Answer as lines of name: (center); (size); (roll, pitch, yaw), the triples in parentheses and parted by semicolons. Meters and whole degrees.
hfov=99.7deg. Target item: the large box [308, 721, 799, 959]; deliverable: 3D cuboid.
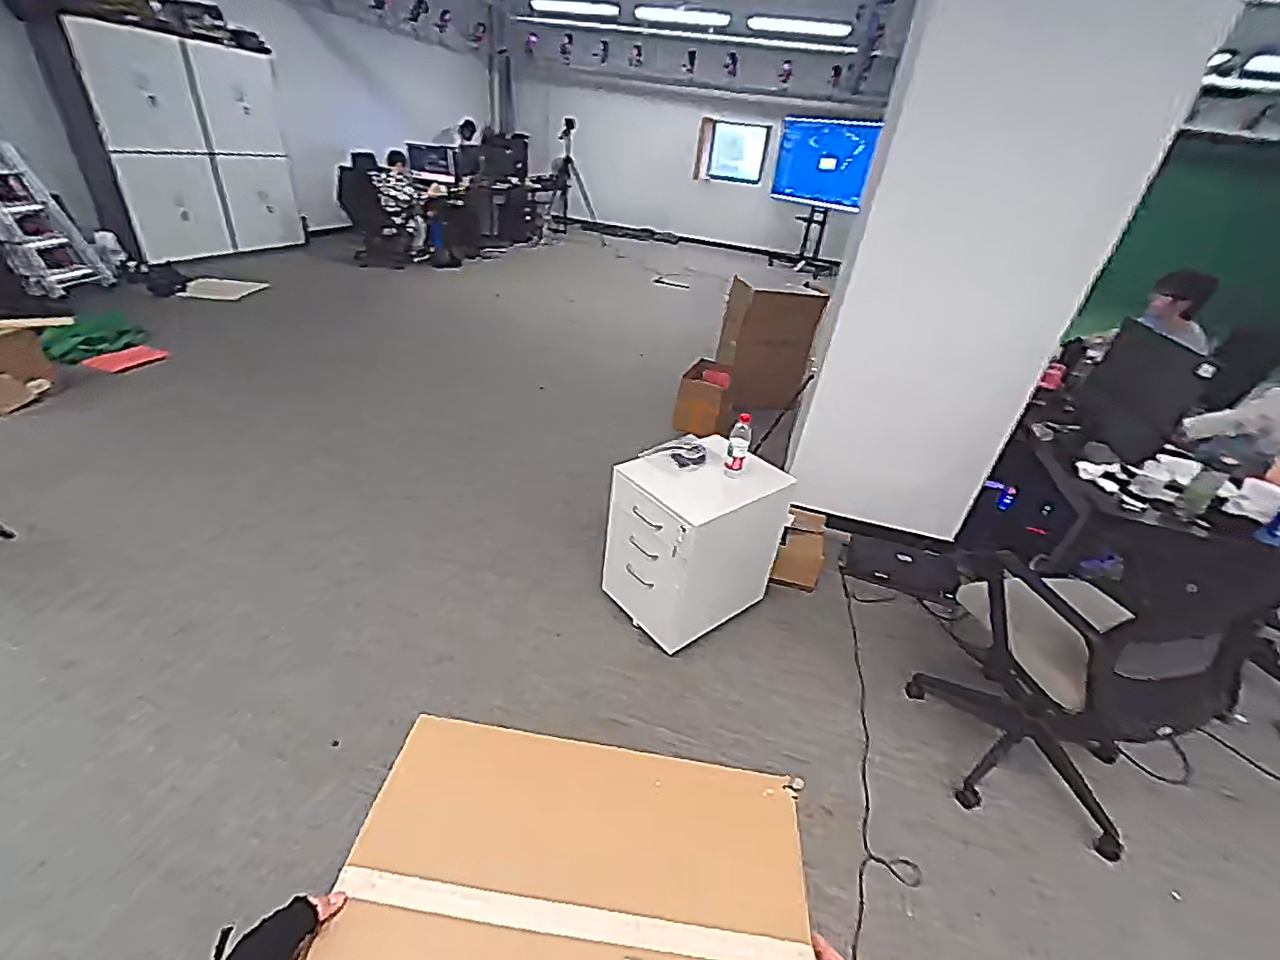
large box: (-0.080, 0.497, 0.546); (0.408, 0.320, 0.320); (10, 34, 0)
